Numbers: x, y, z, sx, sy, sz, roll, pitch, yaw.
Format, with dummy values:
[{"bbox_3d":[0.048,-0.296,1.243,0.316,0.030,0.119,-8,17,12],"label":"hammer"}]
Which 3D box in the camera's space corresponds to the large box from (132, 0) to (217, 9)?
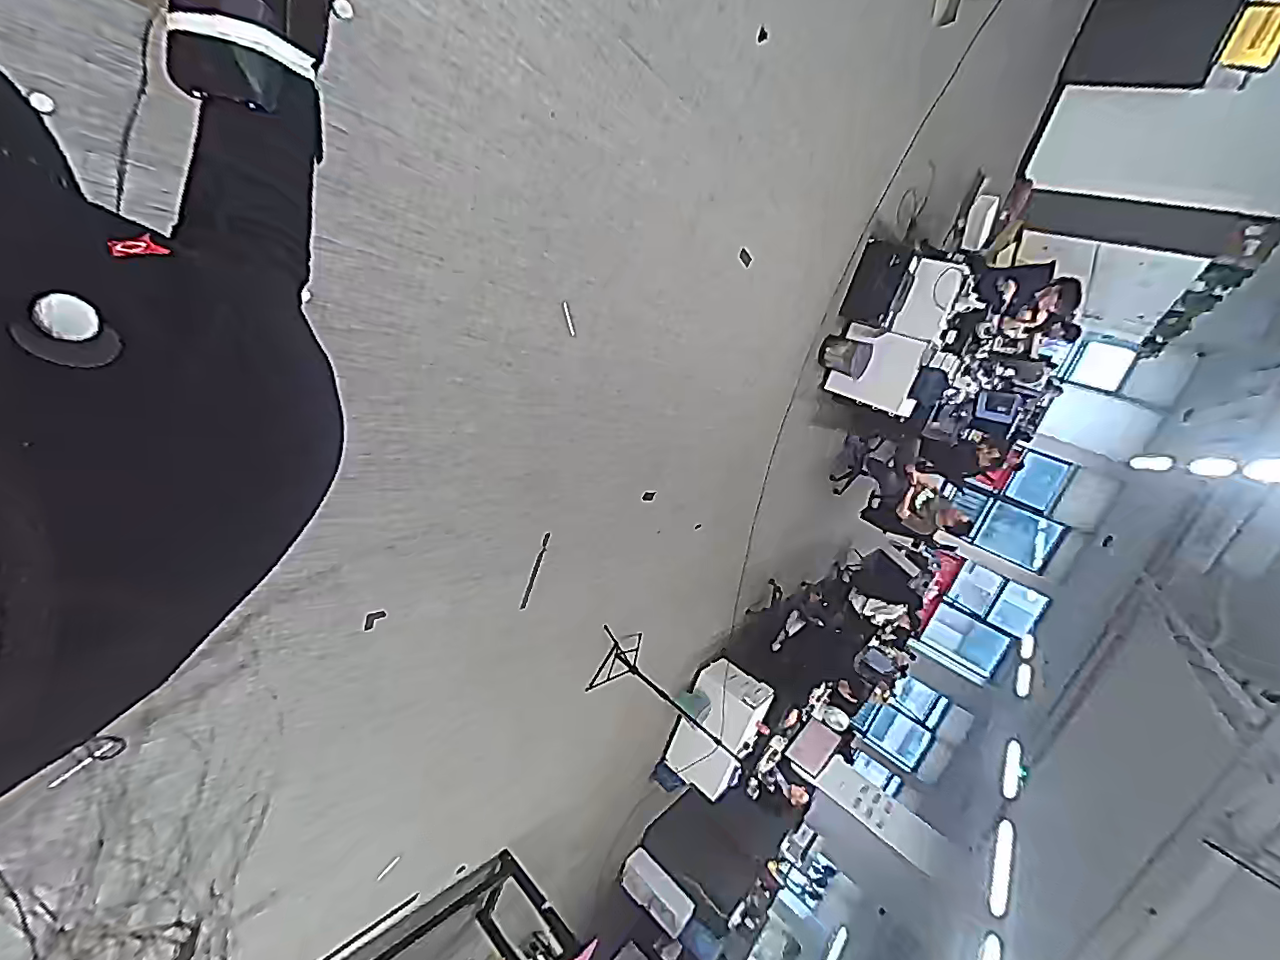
[{"bbox_3d":[-0.452,-0.528,0.250,0.408,0.320,0.320,3,118,-53],"label":"large box"}]
